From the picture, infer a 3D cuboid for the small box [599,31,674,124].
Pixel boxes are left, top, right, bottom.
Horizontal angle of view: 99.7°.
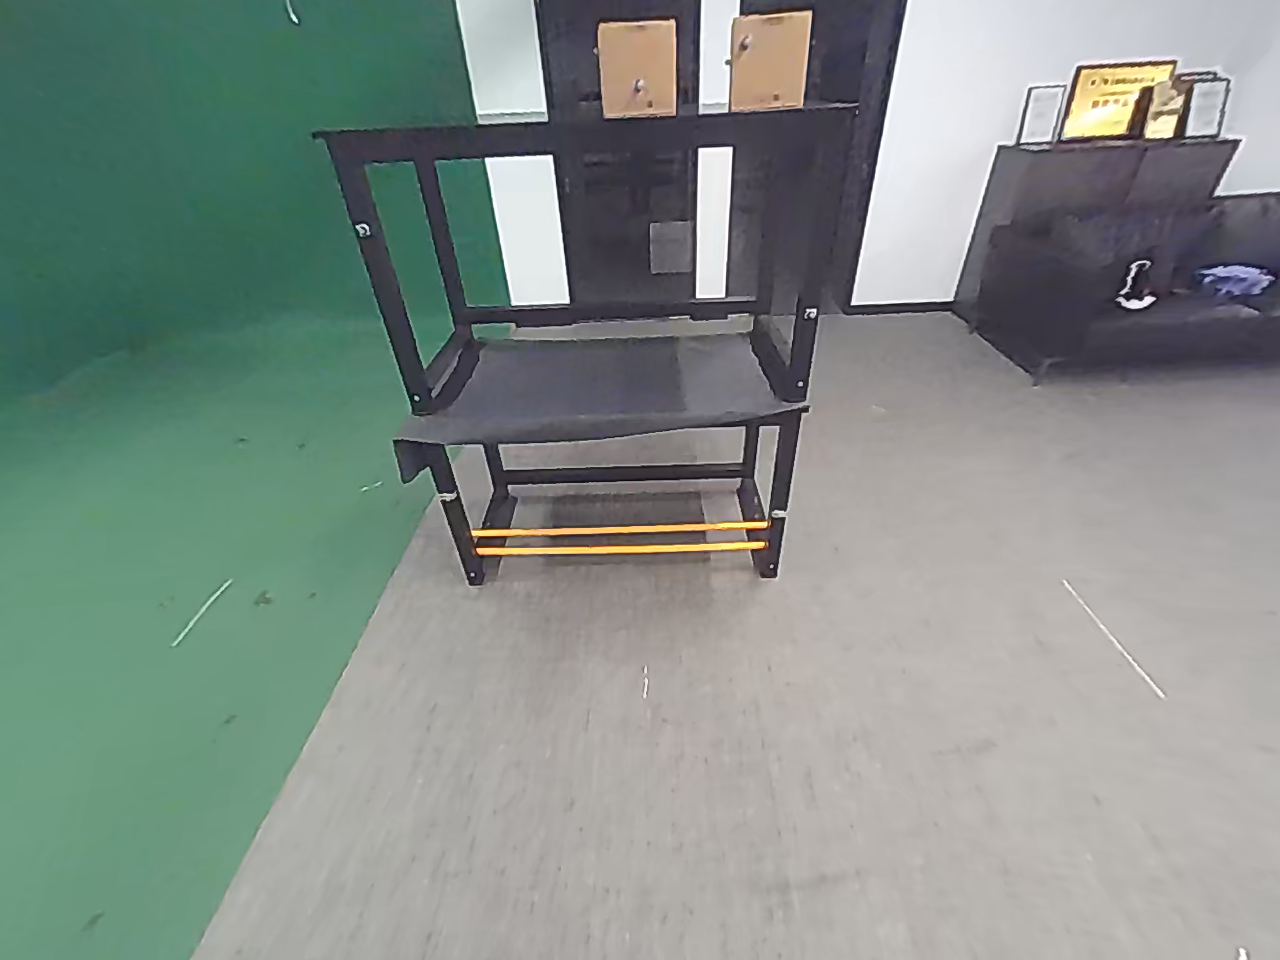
[{"bbox_3d":[-0.011,-0.955,1.293,0.168,0.176,0.179,-5,35,-2],"label":"small box"}]
